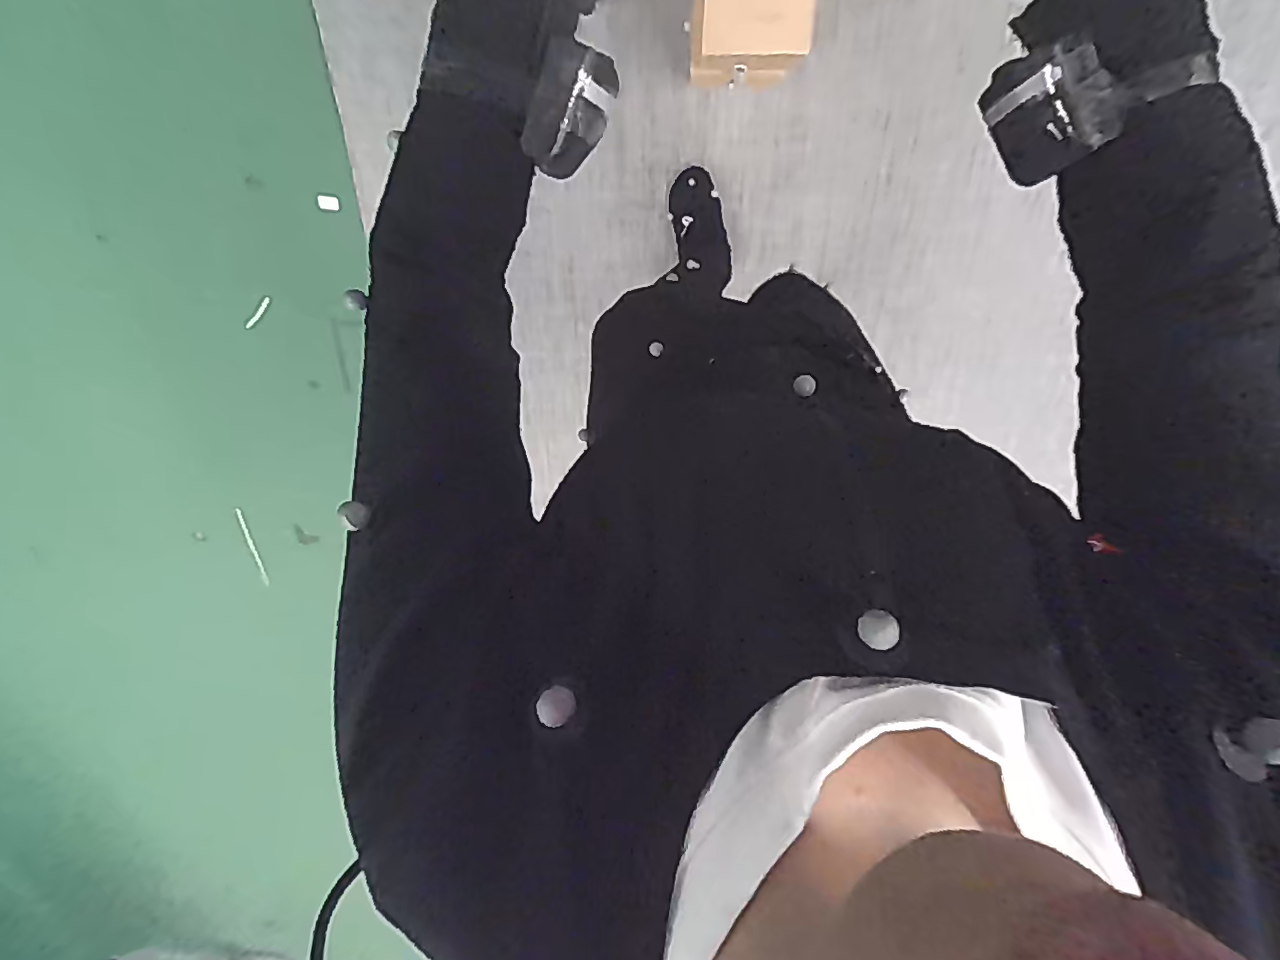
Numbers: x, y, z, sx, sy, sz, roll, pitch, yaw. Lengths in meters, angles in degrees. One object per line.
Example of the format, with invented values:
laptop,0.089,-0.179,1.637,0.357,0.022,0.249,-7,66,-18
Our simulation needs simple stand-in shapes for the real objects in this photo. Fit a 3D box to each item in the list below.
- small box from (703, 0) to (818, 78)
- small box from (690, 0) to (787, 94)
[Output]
small box,0.188,-0.762,0.862,0.168,0.176,0.179,3,120,5
small box,0.187,-0.833,1.007,0.179,0.176,0.168,4,119,5
